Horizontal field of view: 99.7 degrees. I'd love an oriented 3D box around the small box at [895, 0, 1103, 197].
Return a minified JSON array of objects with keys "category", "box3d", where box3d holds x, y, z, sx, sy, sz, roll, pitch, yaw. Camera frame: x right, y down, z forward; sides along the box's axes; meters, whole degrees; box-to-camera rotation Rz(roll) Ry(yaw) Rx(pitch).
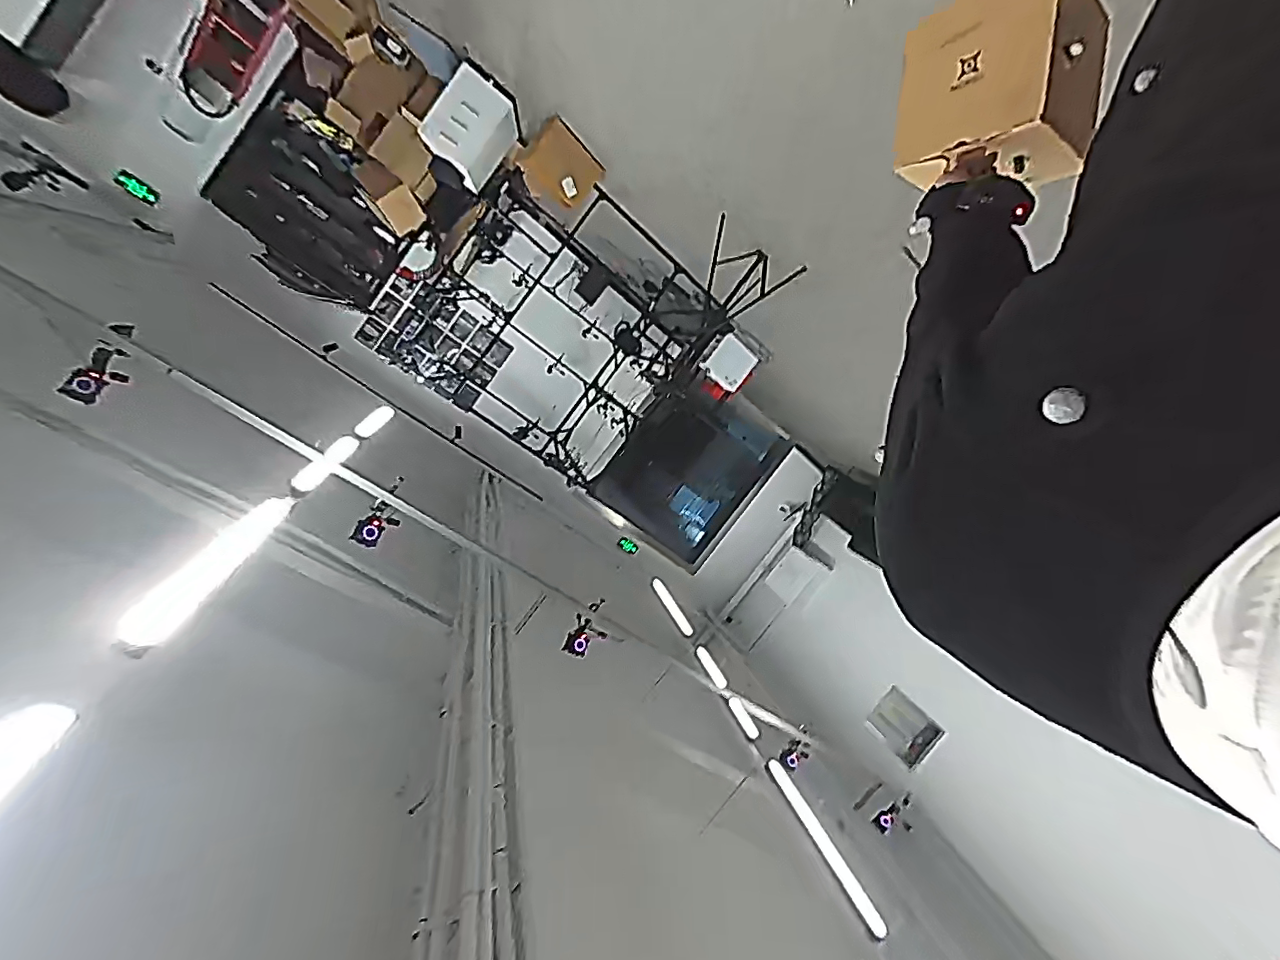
[{"category":"small box","box3d":[0.448,-0.478,0.679,0.176,0.179,0.168,-1,-172,-38]}]
